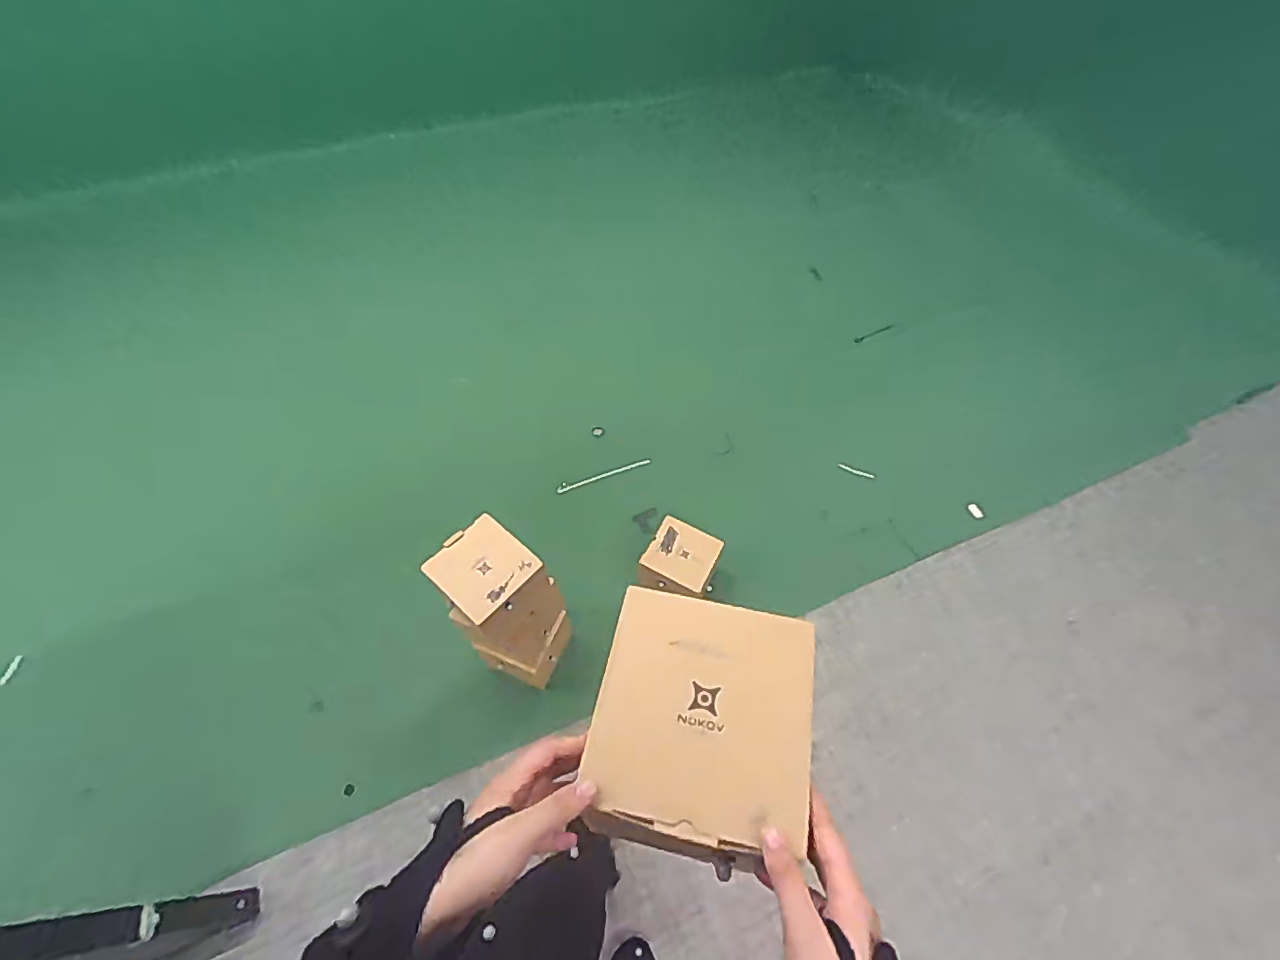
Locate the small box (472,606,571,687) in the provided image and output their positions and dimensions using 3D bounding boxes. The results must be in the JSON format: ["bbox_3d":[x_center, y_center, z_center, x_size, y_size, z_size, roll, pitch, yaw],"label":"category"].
[{"bbox_3d":[-0.287,0.404,1.360,0.179,0.176,0.168,19,58,12],"label":"small box"}]

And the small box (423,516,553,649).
[{"bbox_3d":[-0.298,0.211,1.093,0.179,0.176,0.168,36,63,21],"label":"small box"}]

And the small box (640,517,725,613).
[{"bbox_3d":[0.110,0.237,1.474,0.179,0.176,0.168,25,60,14],"label":"small box"}]
